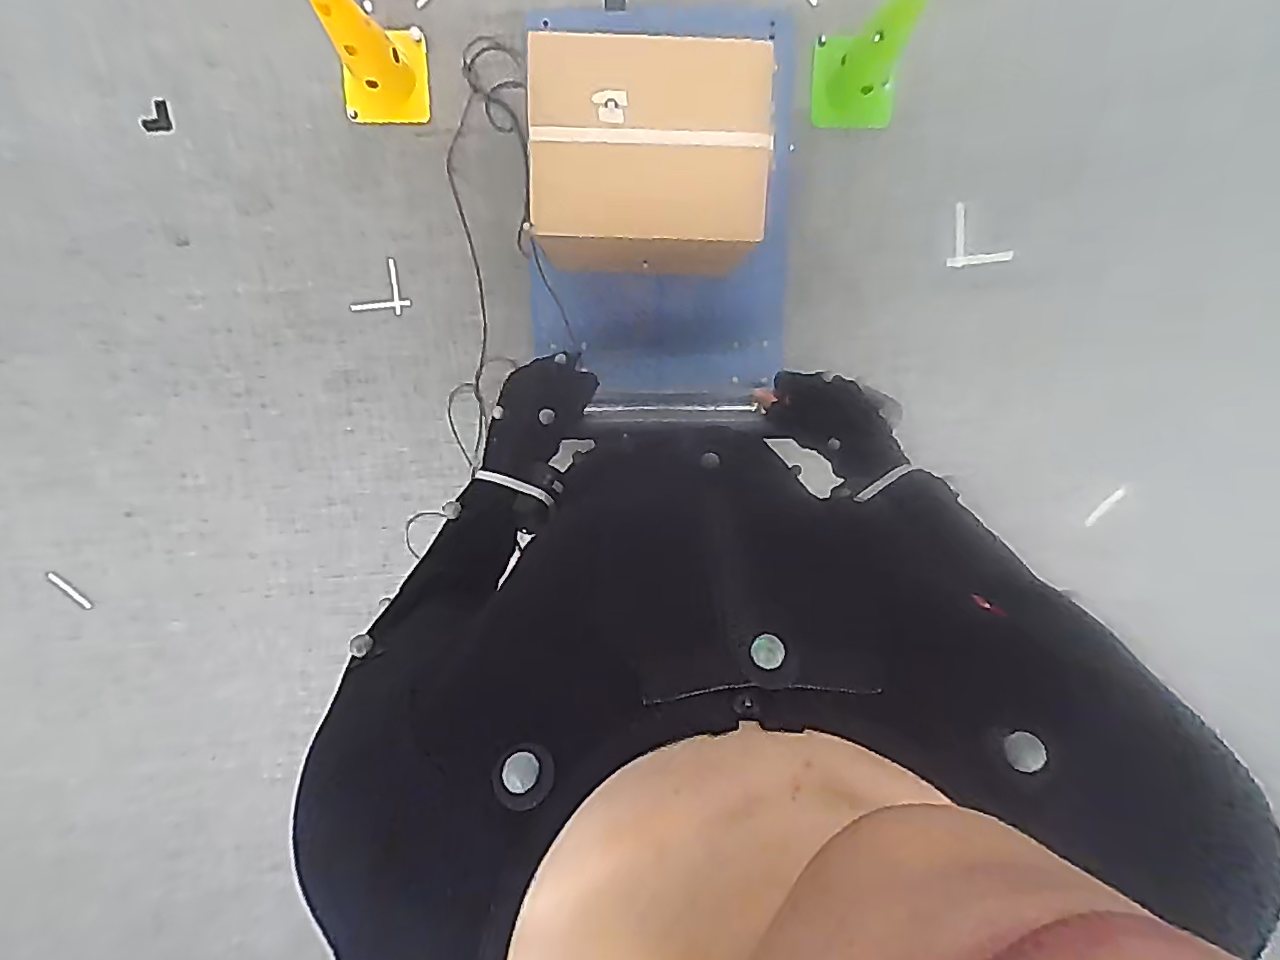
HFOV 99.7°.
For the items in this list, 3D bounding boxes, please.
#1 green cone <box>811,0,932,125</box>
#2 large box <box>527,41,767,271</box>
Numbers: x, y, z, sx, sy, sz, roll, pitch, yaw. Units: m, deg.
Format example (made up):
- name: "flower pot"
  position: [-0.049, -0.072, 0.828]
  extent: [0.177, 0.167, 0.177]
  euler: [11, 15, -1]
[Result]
- name: "green cone"
  position: [0.527, -0.952, 1.154]
  extent: [0.202, 0.368, 0.200]
  euler: [0, 100, -2]
- name: "large box"
  position: [0.013, -0.597, 1.060]
  extent: [0.408, 0.320, 0.320]
  euler: [1, 100, 0]
